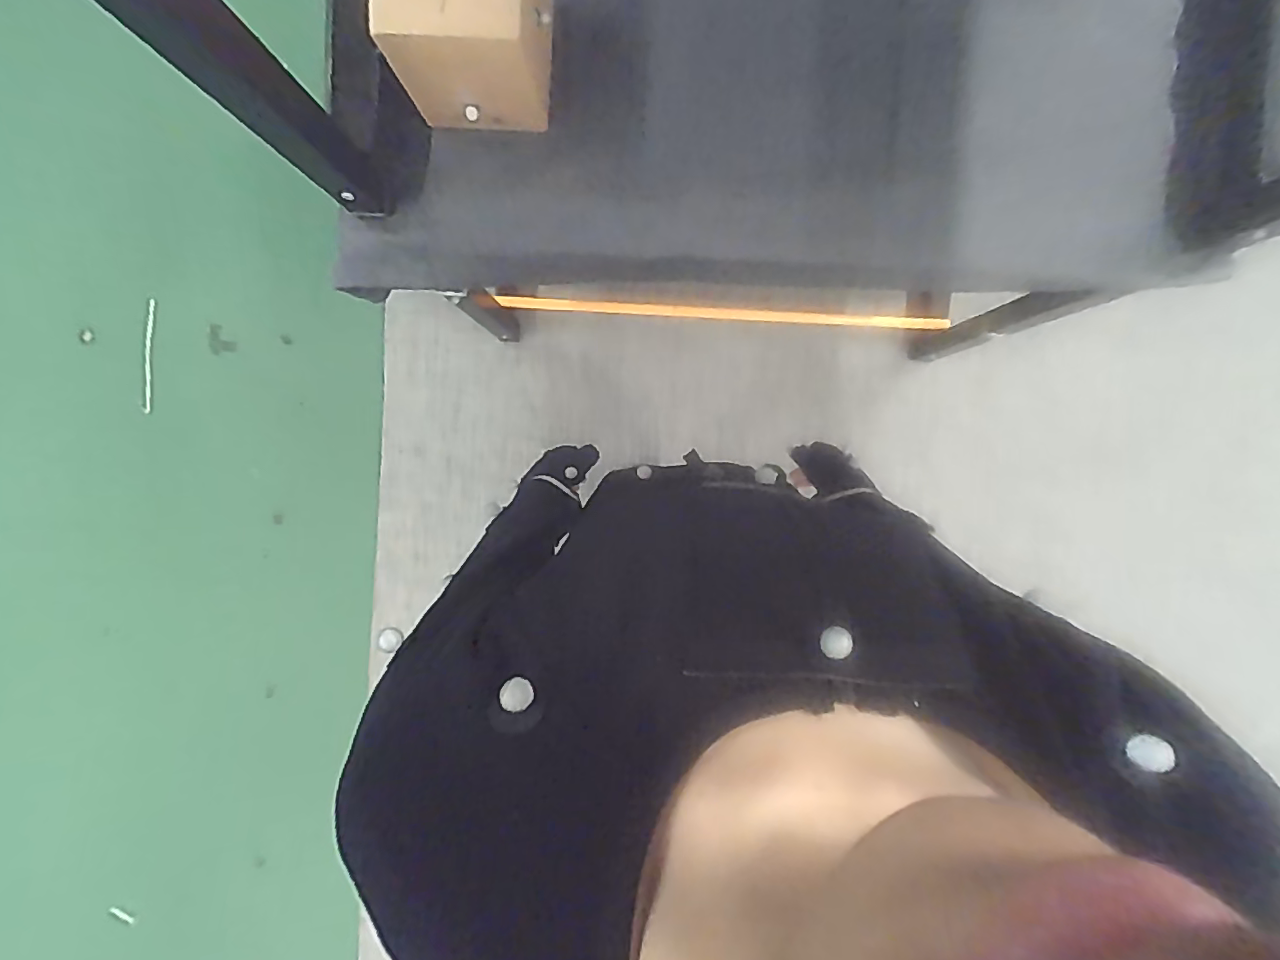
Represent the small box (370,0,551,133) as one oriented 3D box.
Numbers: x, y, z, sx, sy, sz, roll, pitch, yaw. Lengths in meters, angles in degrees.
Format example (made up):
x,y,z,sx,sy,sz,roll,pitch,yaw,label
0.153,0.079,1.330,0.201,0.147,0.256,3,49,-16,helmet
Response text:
x,y,z,sx,sy,sz,roll,pitch,yaw,label
-0.205,-0.567,0.660,0.168,0.176,0.179,3,92,0,small box
